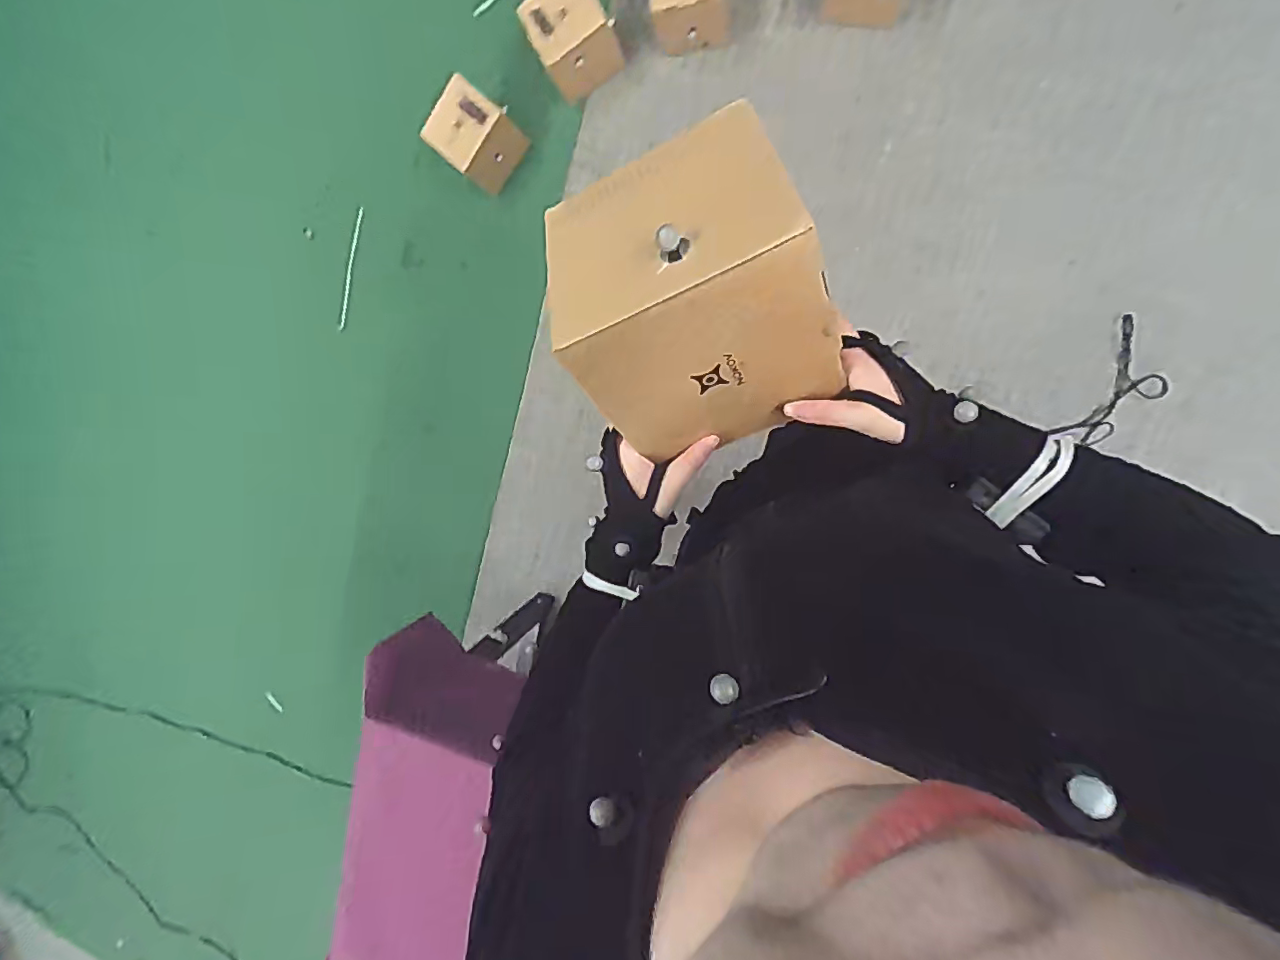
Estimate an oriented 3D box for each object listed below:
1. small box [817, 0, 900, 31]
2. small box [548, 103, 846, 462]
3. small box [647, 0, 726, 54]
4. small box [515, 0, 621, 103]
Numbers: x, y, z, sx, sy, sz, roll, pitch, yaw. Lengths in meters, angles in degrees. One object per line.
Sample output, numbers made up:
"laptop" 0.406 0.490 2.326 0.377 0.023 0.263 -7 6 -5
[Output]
"small box" 0.499 -1.124 1.173 0.179 0.176 0.168 16 100 11
"small box" 0.043 -0.147 0.430 0.179 0.168 0.176 -20 55 16
"small box" 0.113 -1.147 1.270 0.168 0.176 0.179 0 98 15
"small box" -0.172 -1.099 1.350 0.179 0.176 0.168 -27 90 15
